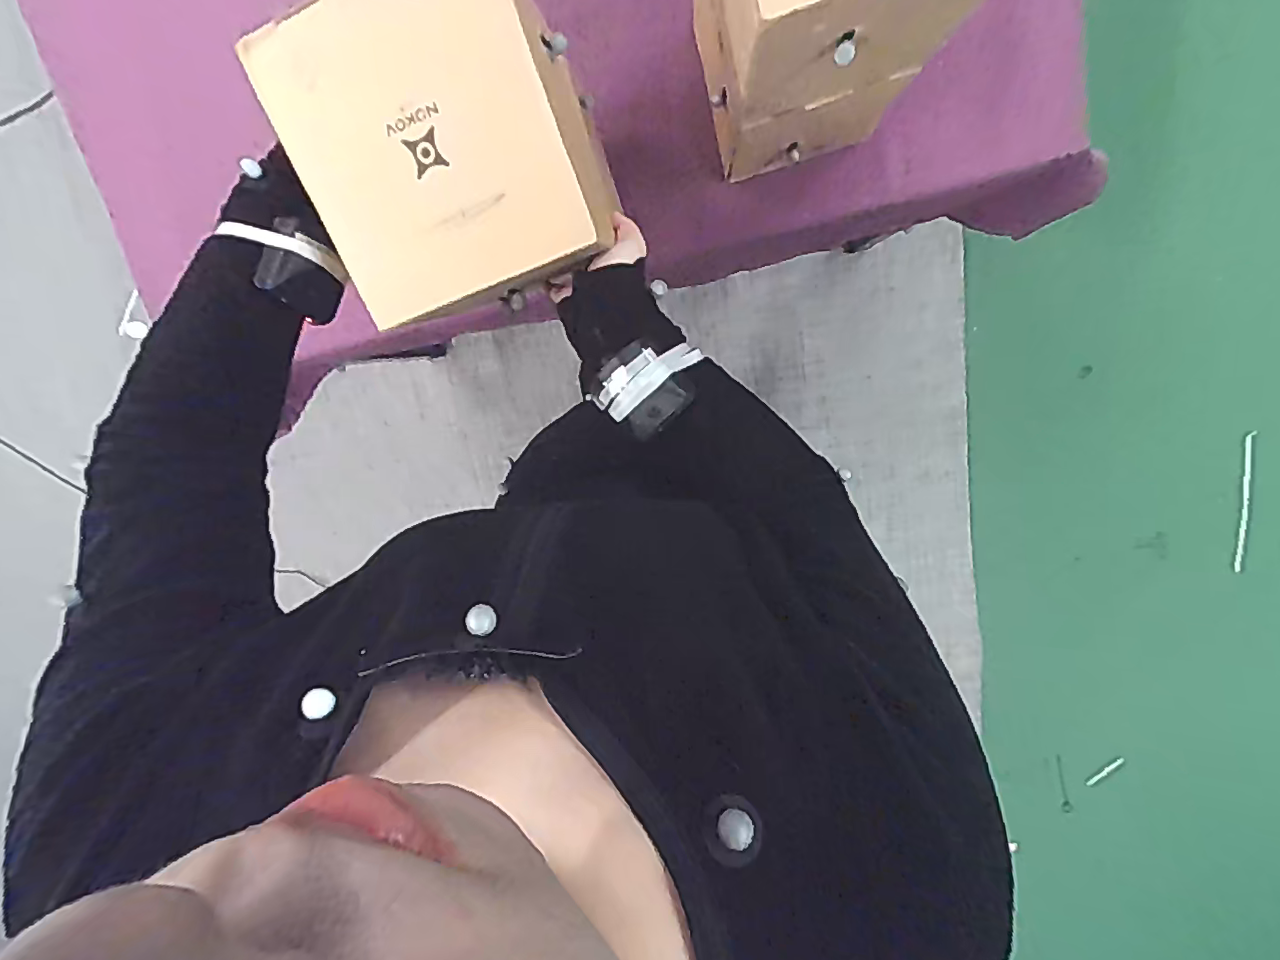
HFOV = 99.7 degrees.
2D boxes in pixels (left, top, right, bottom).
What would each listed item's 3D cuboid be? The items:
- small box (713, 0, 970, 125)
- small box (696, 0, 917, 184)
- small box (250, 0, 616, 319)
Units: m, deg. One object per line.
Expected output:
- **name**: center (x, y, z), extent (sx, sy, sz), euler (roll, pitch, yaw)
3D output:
- **small box**: center (0.142, -0.397, 0.393), extent (0.179, 0.176, 0.168), euler (-14, 102, 9)
- **small box**: center (0.154, -0.438, 0.551), extent (0.168, 0.176, 0.179), euler (-12, 102, 8)
- **small box**: center (-0.127, -0.237, 0.410), extent (0.168, 0.176, 0.179), euler (-17, 109, 10)
